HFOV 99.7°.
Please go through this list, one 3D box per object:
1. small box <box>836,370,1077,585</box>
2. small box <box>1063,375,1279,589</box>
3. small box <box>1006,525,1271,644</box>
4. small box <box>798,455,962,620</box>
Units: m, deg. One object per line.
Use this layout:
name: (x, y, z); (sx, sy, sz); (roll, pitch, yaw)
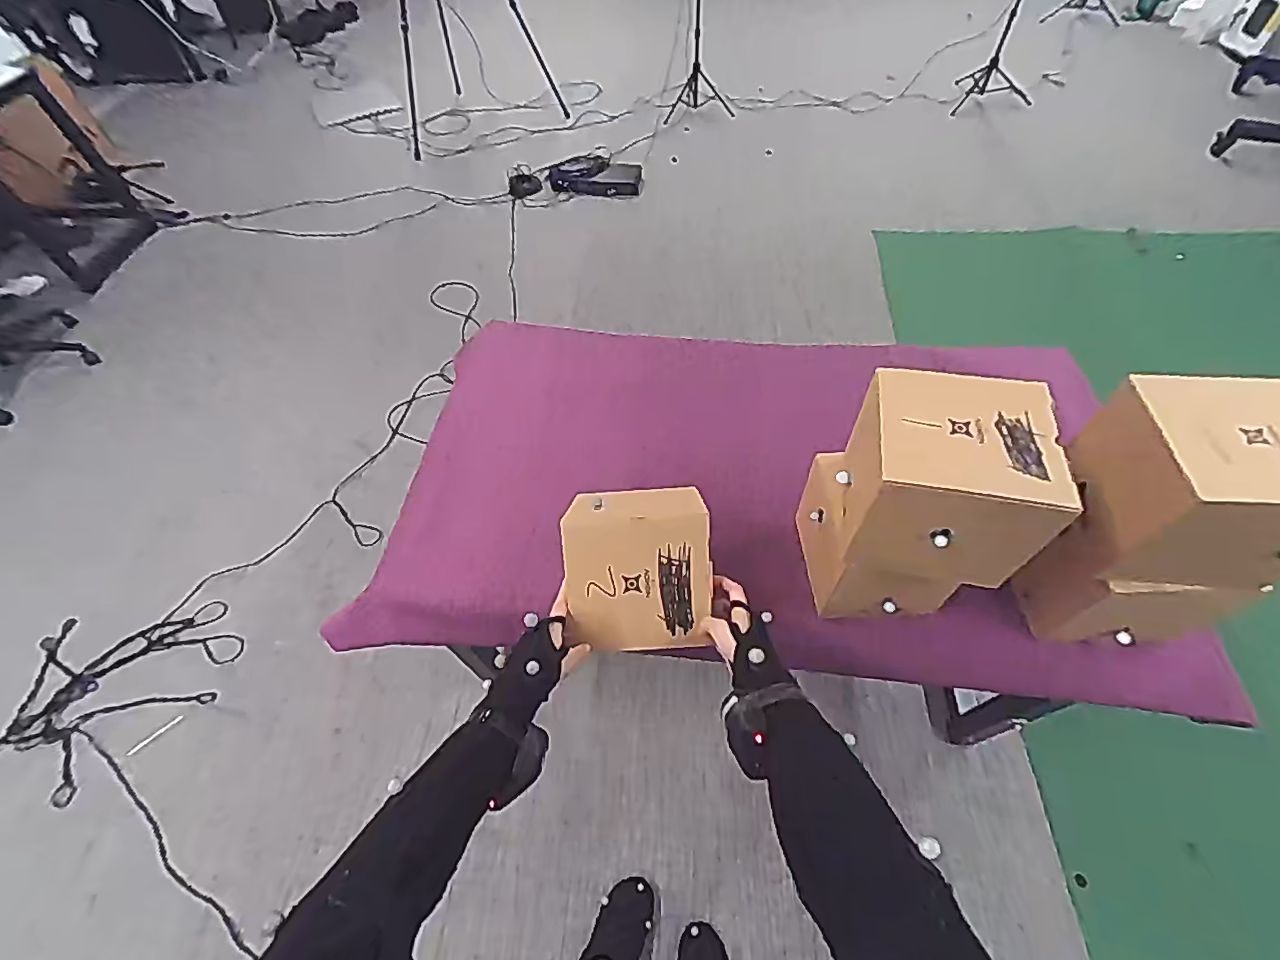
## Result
small box: (0.334, 0.001, 0.610); (0.179, 0.176, 0.168); (8, 54, 11)
small box: (0.602, 0.007, 0.588); (0.179, 0.176, 0.168); (3, 55, 8)
small box: (0.622, 0.109, 0.714); (0.179, 0.176, 0.168); (-1, 54, 4)
small box: (0.329, 0.080, 0.757); (0.168, 0.176, 0.179); (-3, 53, 3)
